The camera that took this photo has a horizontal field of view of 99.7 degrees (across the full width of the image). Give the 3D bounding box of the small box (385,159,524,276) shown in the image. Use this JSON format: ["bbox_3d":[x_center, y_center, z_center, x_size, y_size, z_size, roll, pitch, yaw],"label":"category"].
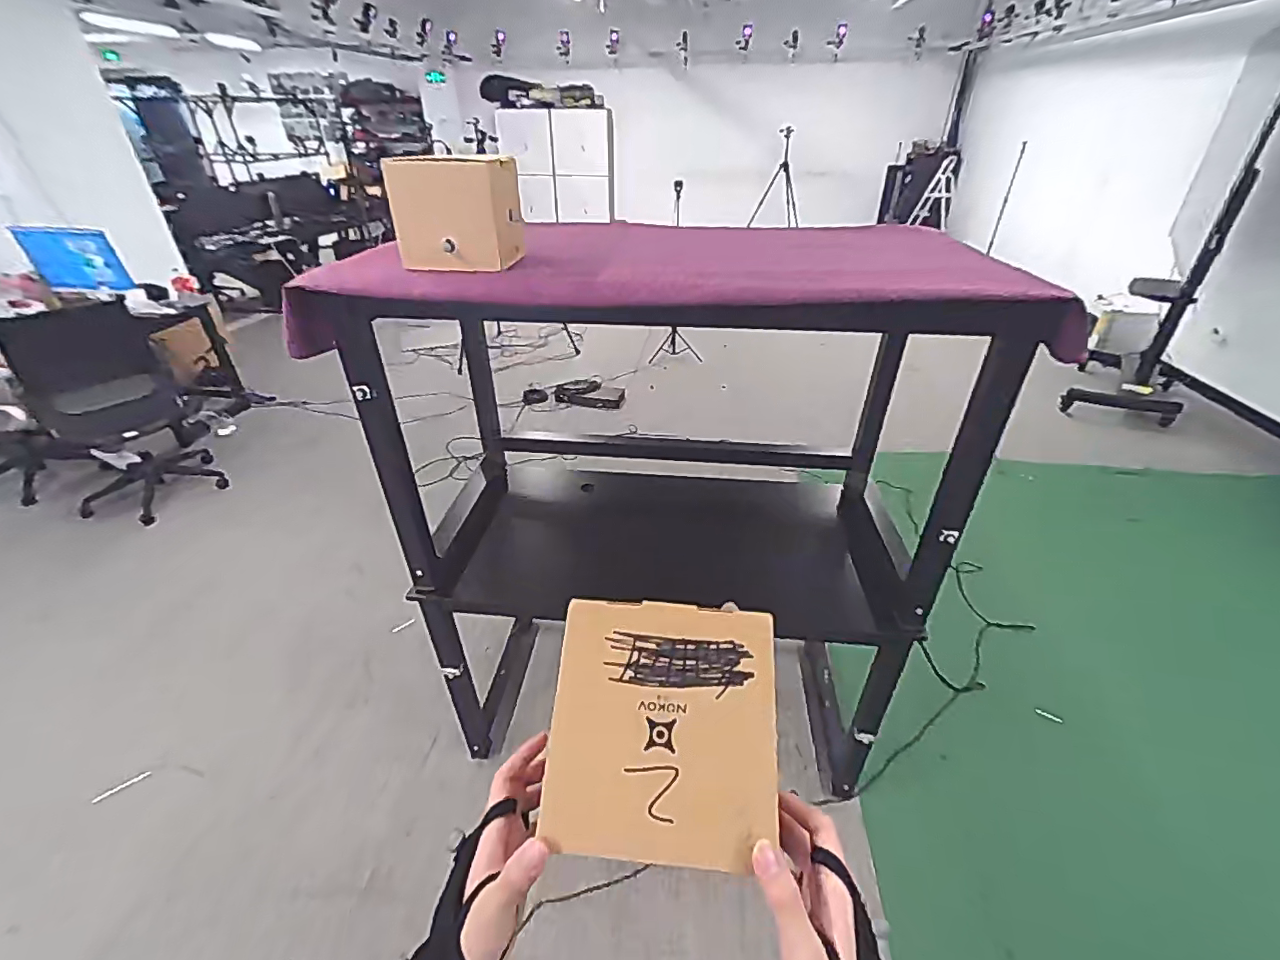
[{"bbox_3d":[-0.311,-0.462,0.953,0.179,0.176,0.168,3,32,3],"label":"small box"}]
